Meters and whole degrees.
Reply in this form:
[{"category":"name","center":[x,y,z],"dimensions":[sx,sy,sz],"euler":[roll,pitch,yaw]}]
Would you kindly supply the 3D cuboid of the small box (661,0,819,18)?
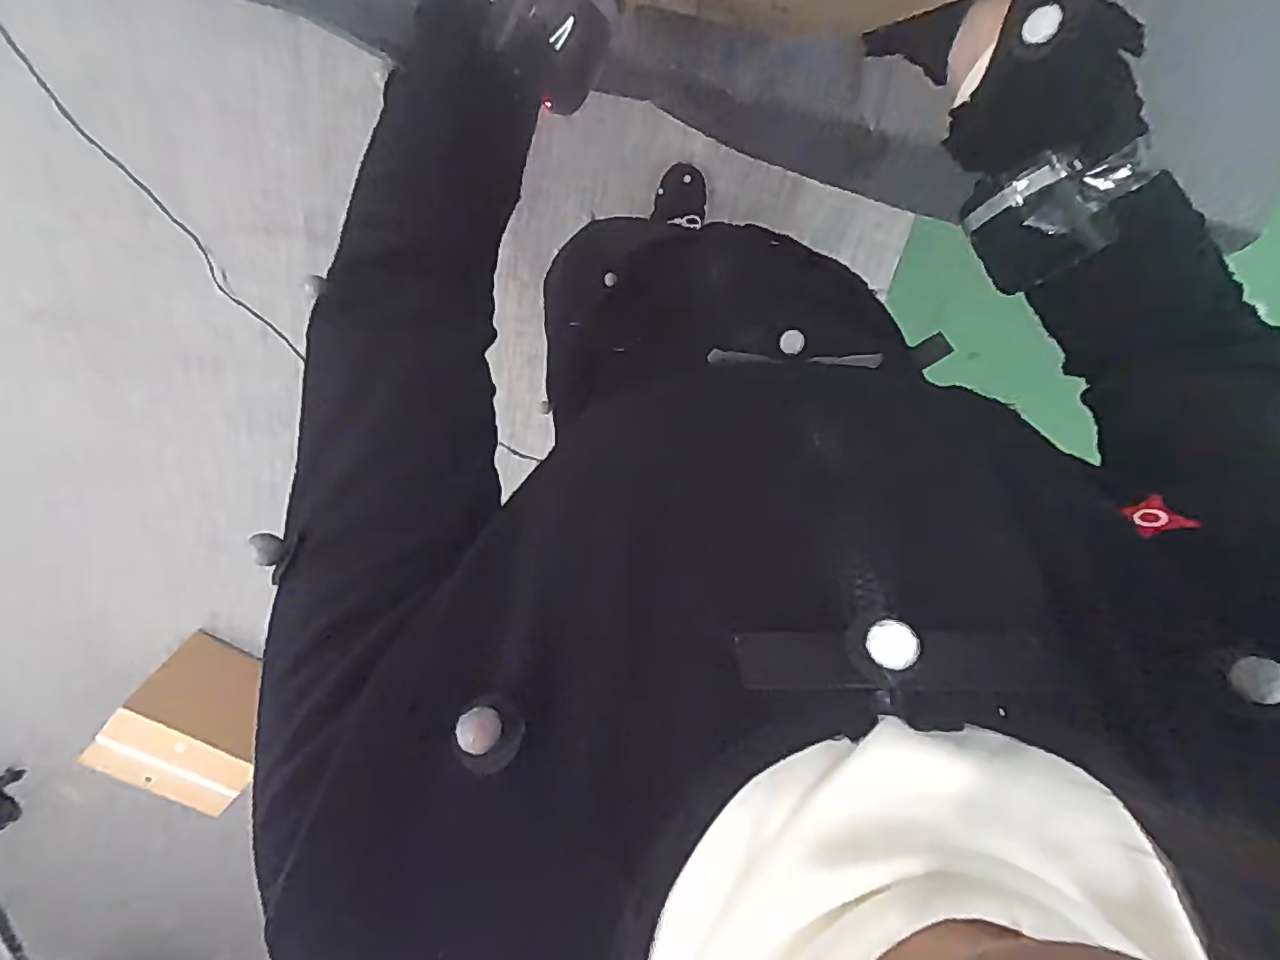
[{"category":"small box","center":[0.075,-0.432,0.353],"dimensions":[0.179,0.176,0.168],"euler":[3,121,-5]}]
